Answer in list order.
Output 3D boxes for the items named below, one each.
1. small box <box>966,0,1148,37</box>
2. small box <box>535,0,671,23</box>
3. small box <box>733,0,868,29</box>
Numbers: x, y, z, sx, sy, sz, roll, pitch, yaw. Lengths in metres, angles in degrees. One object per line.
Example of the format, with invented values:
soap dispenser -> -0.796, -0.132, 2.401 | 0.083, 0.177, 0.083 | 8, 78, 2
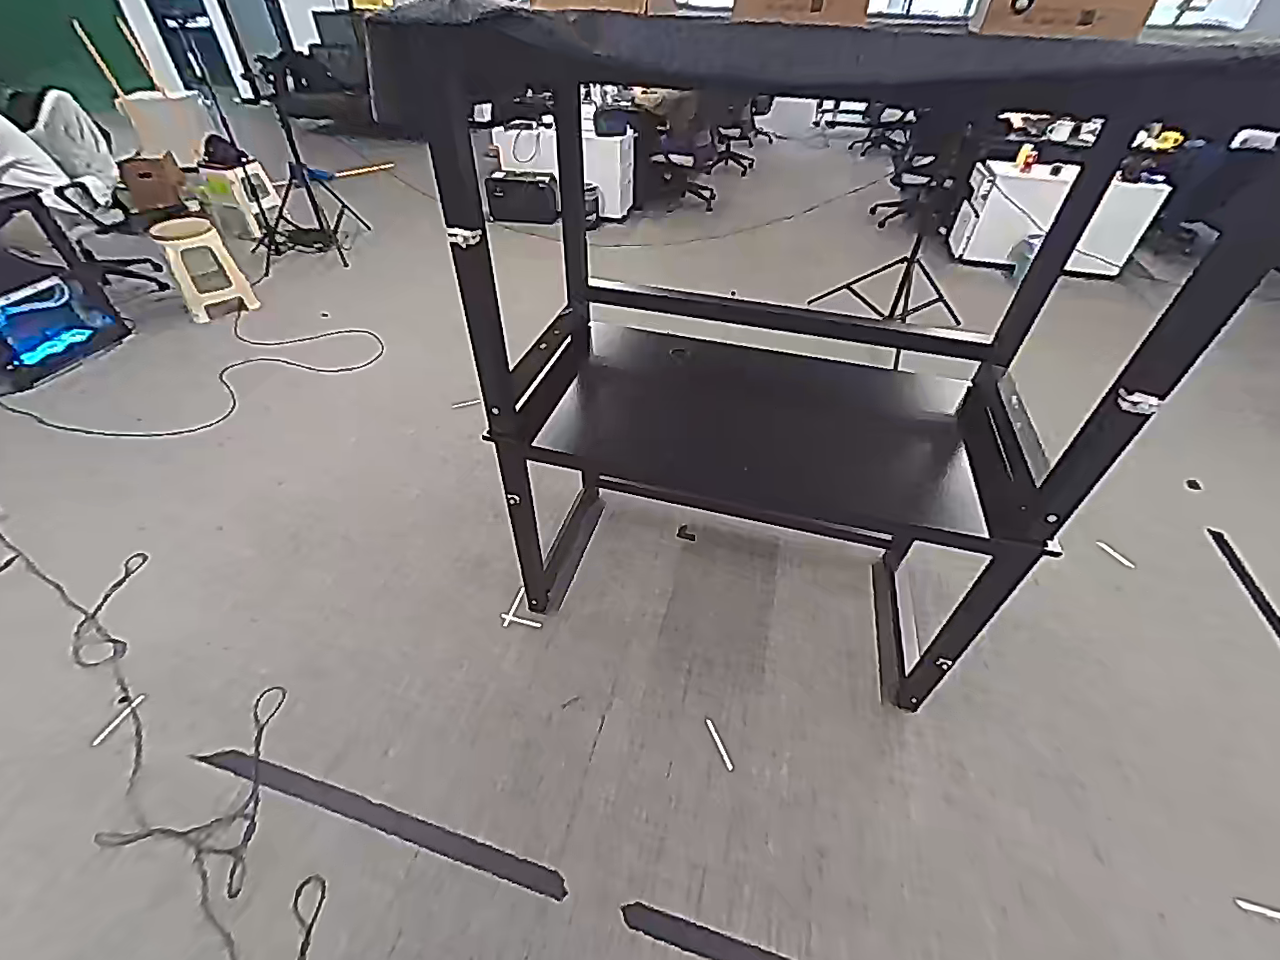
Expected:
small box -> 0.508, -0.628, 0.631 | 0.168, 0.176, 0.179 | 14, 42, 14
small box -> -0.045, -0.737, 0.730 | 0.168, 0.176, 0.179 | 12, 42, 9
small box -> 0.218, -0.685, 0.681 | 0.168, 0.176, 0.179 | 12, 42, 12
